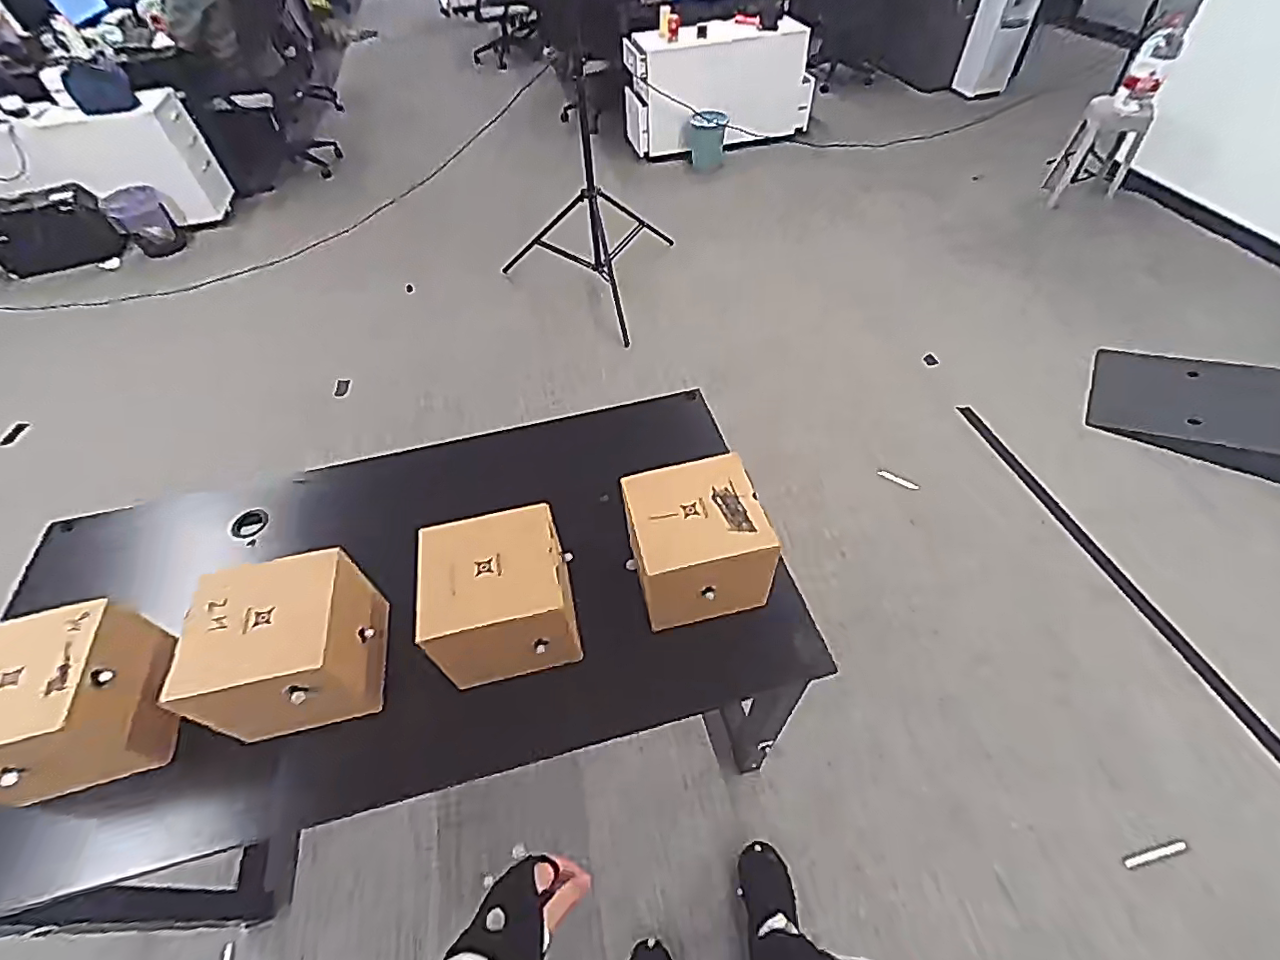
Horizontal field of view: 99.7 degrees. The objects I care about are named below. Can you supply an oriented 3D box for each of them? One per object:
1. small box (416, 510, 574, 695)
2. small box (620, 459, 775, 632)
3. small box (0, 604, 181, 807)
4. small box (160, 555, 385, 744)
[{"bbox_3d":[-0.192,0.170,0.744,0.179,0.176,0.168,-13,49,-8],"label":"small box"},{"bbox_3d":[0.075,0.098,0.783,0.179,0.176,0.168,-12,51,-5],"label":"small box"},{"bbox_3d":[-0.721,0.286,0.679,0.179,0.176,0.168,-15,52,-8],"label":"small box"},{"bbox_3d":[-0.457,0.225,0.712,0.179,0.176,0.168,-12,51,-6],"label":"small box"}]
